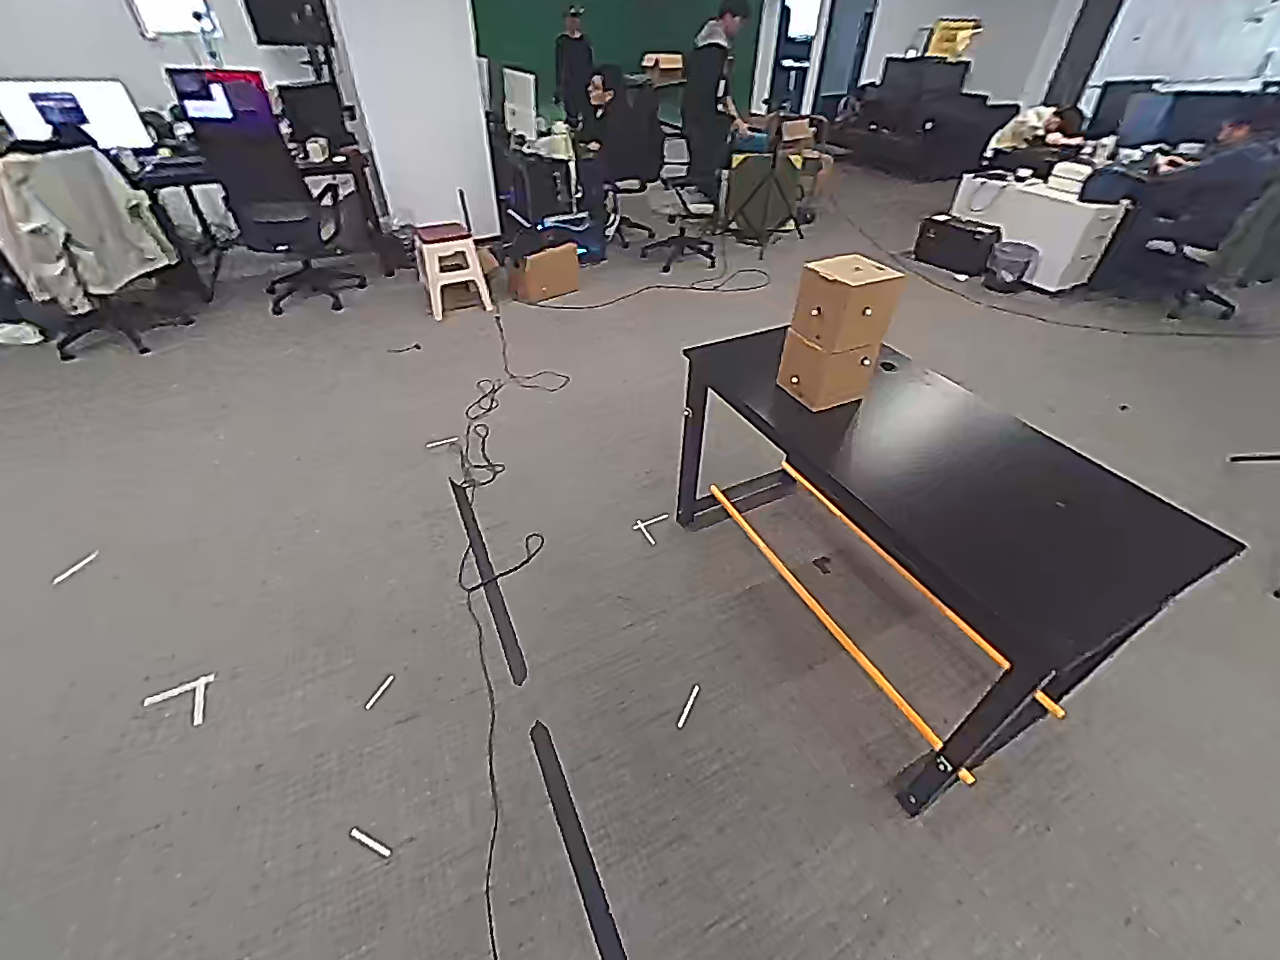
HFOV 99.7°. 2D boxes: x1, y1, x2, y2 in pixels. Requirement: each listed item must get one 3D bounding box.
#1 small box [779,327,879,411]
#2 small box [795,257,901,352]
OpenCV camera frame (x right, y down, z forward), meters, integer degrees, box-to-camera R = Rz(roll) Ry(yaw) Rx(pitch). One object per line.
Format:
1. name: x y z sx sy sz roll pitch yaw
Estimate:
1. small box: 0.498 -0.308 1.452 0.179 0.176 0.168 -17 43 -19
2. small box: 0.507 -0.437 1.350 0.179 0.176 0.168 -19 45 -21
